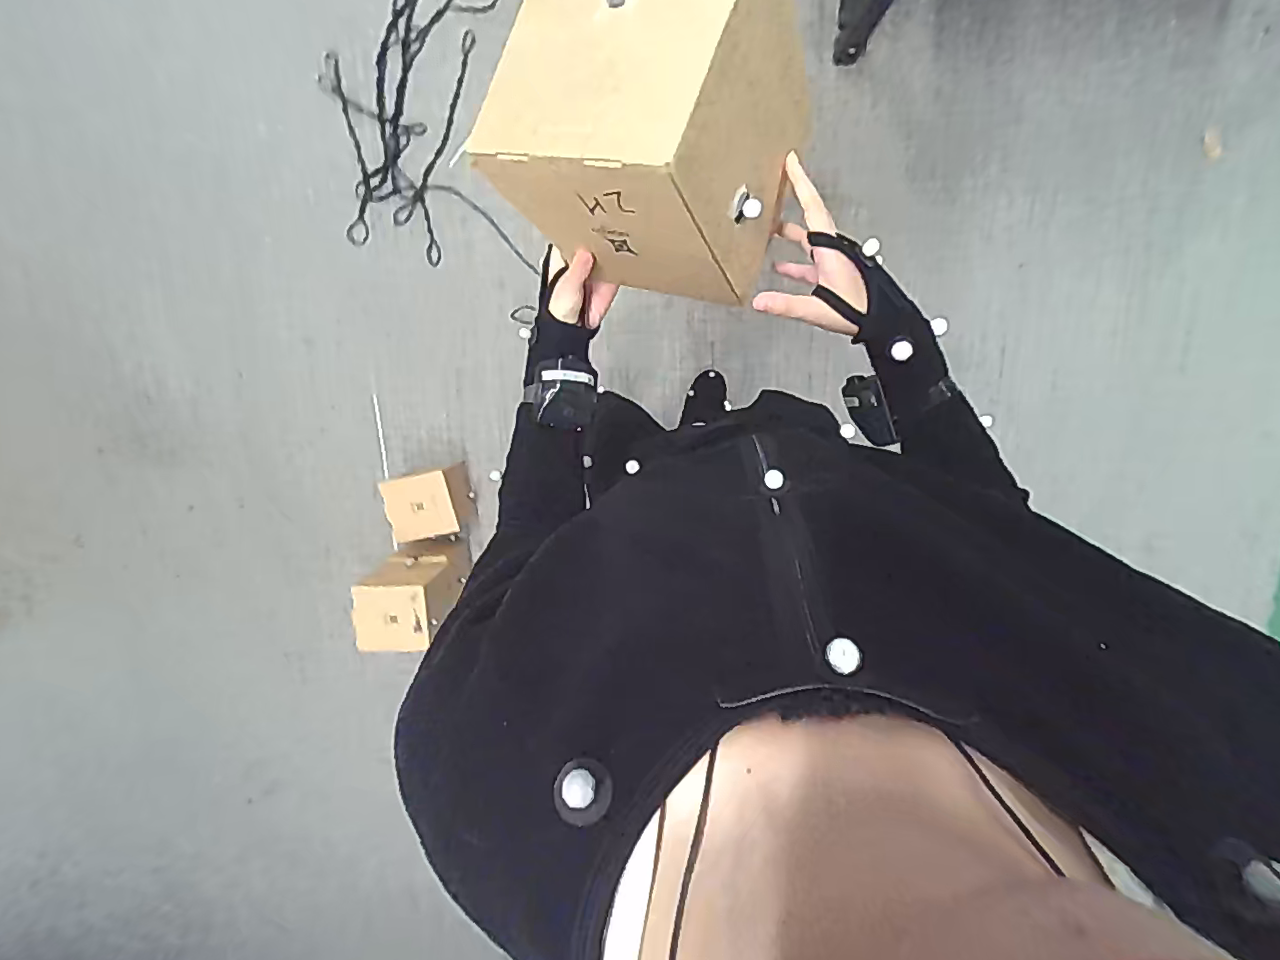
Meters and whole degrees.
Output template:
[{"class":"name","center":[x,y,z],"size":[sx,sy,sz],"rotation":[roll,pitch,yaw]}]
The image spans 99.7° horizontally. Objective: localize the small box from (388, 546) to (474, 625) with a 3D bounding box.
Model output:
[{"class":"small box","center":[-0.569,0.285,1.489],"size":[0.168,0.176,0.179],"rotation":[-1,101,2]}]

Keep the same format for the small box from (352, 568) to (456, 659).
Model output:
[{"class":"small box","center":[-0.573,0.321,1.329],"size":[0.179,0.176,0.168],"rotation":[0,101,3]}]

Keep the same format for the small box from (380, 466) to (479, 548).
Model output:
[{"class":"small box","center":[-0.556,0.068,1.449],"size":[0.179,0.176,0.168],"rotation":[-11,101,3]}]

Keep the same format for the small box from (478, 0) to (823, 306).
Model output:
[{"class":"small box","center":[0.023,-0.258,0.399],"size":[0.168,0.179,0.176],"rotation":[21,88,26]}]
